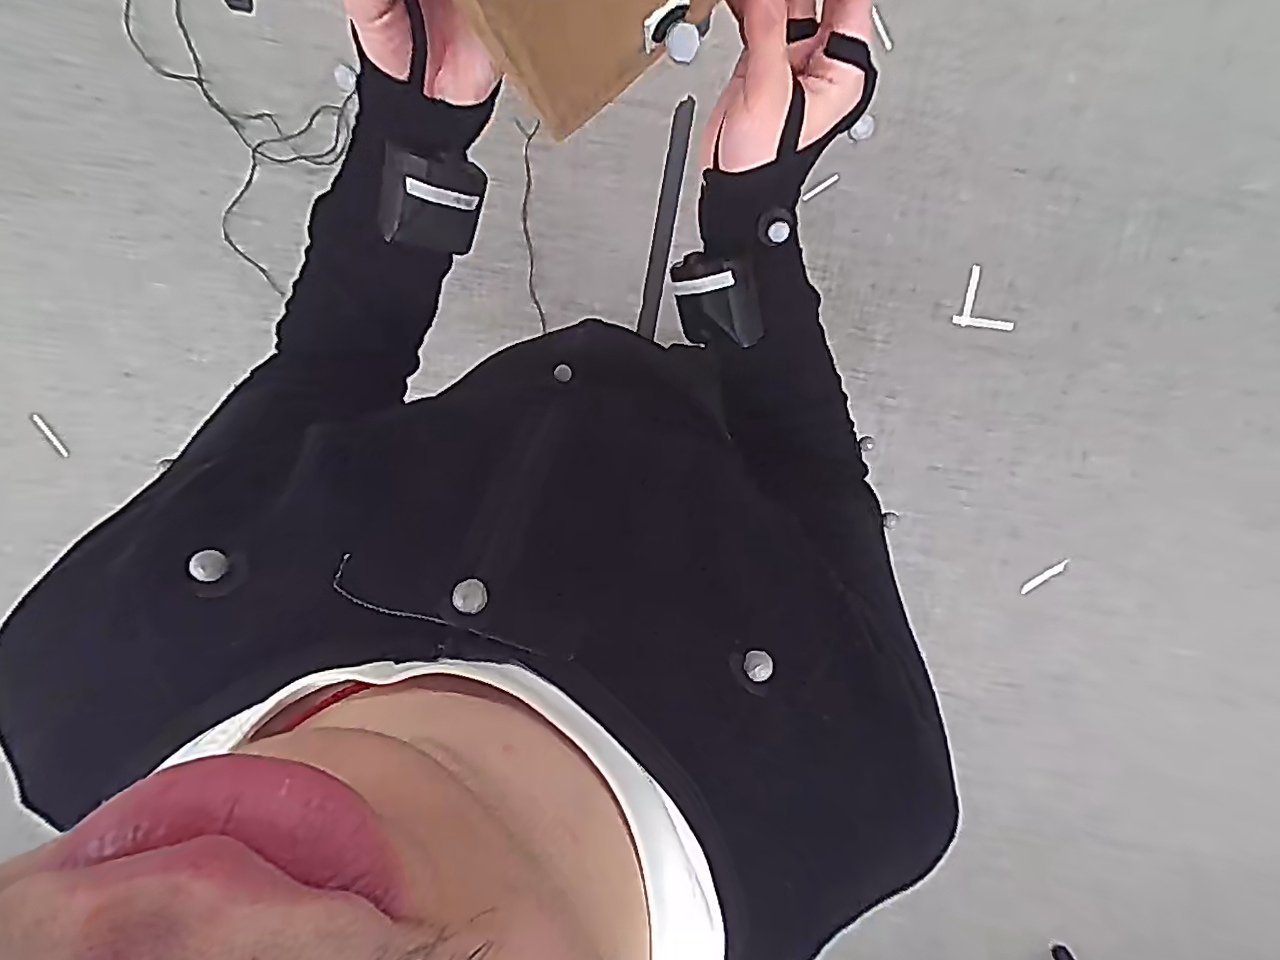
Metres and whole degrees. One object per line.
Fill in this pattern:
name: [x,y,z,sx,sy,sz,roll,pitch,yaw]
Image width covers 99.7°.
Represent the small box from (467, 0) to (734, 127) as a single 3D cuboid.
small box: [-0.028,-0.271,0.186,0.168,0.176,0.179,-37,105,13]
